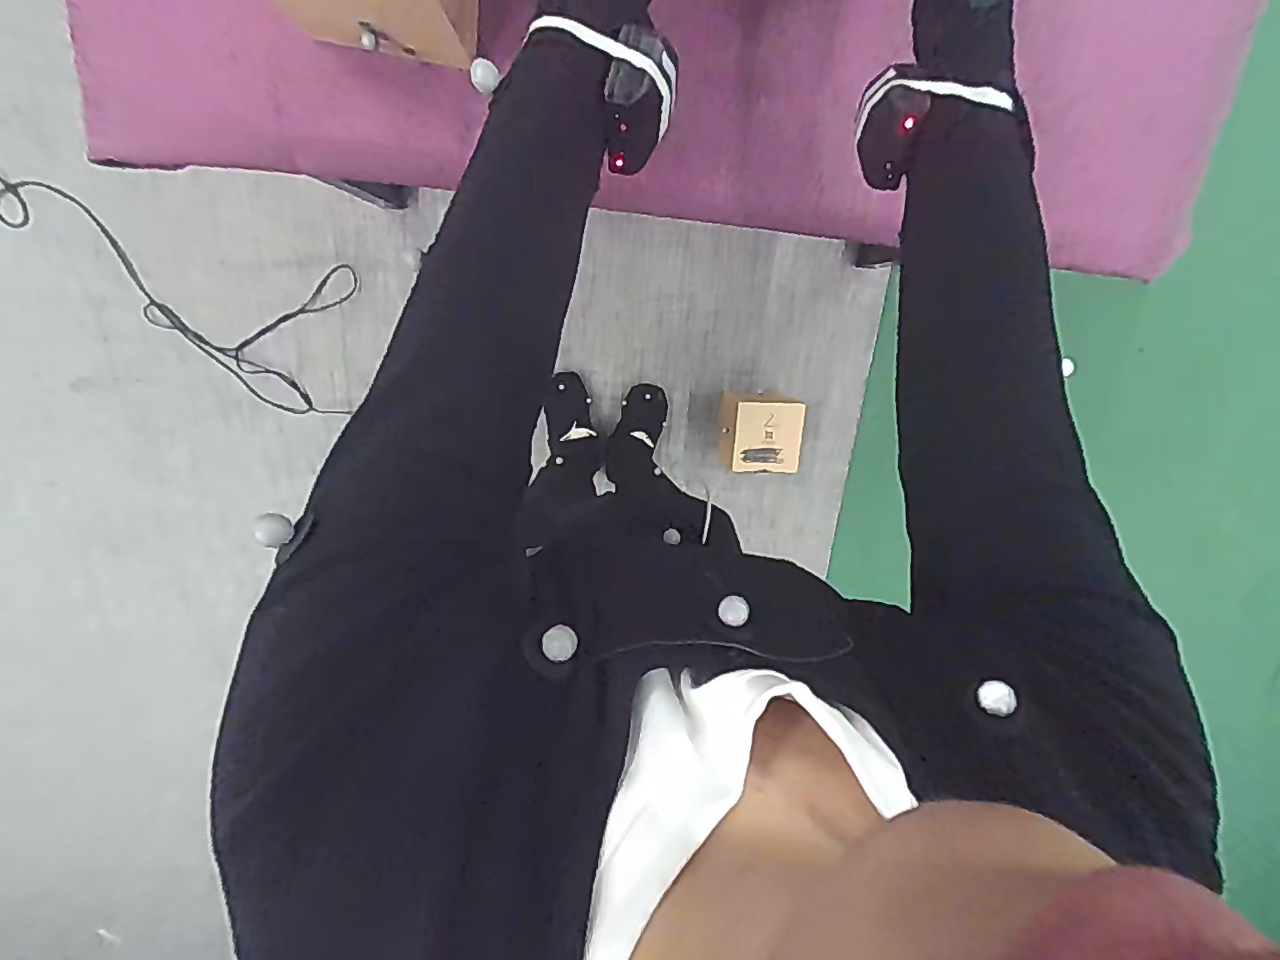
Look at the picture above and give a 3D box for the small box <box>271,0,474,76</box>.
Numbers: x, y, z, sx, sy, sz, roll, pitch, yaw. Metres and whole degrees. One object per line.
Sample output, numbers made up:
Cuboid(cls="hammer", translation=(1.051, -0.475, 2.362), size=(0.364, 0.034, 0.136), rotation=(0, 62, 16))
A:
Cuboid(cls="small box", translation=(-0.235, -0.483, 0.447), size=(0.168, 0.176, 0.179), rotation=(7, 107, -8))
